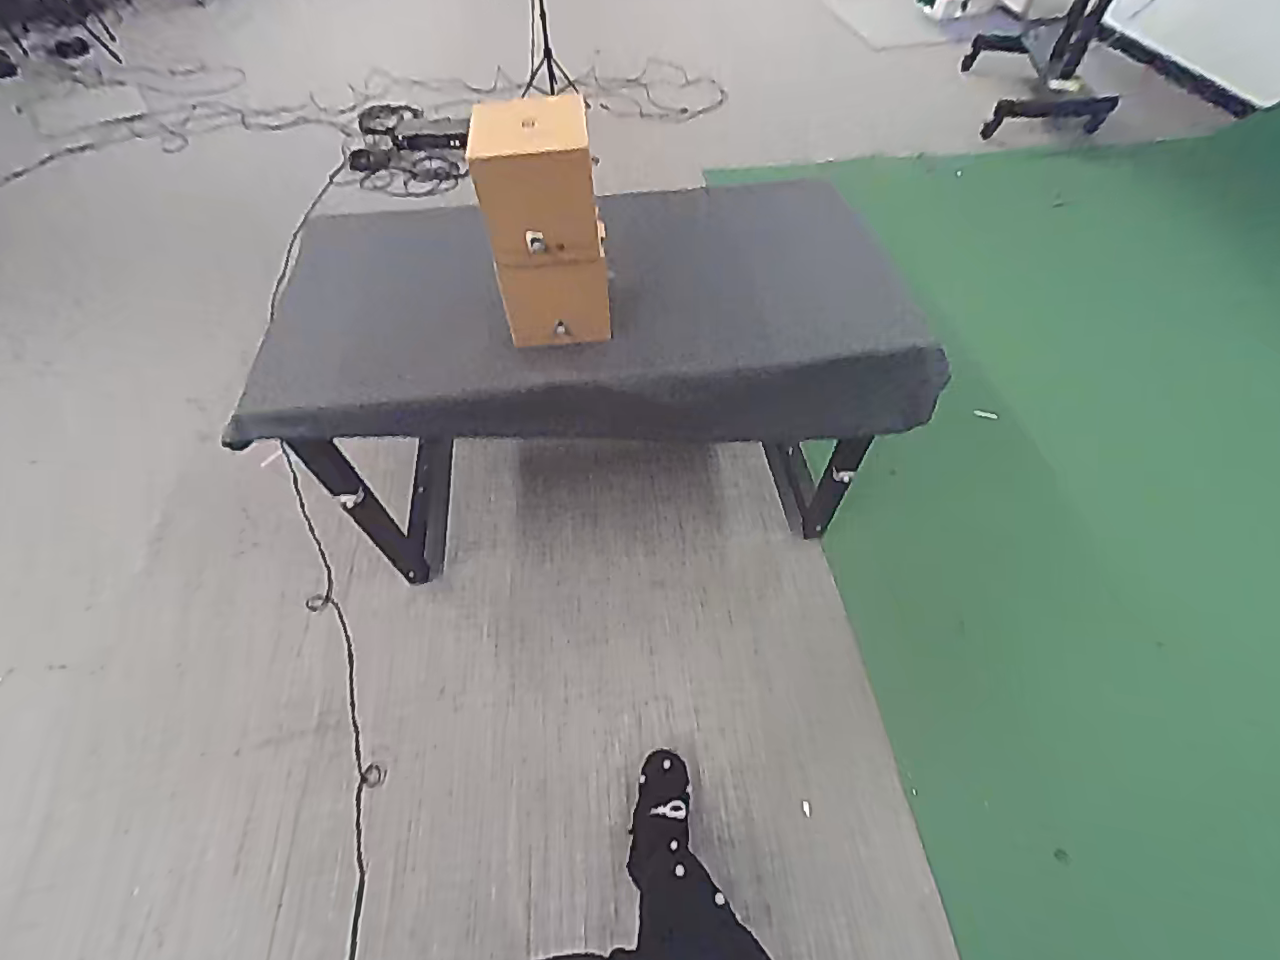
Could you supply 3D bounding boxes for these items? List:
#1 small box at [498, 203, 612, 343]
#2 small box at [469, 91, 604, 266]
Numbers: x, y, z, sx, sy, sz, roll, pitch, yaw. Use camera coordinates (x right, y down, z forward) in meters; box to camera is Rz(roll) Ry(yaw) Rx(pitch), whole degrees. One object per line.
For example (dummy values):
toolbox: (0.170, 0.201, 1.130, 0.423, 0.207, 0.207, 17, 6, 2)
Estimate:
small box: (-0.141, -0.363, 0.956, 0.179, 0.176, 0.168, -6, 55, -2)
small box: (-0.148, -0.455, 0.822, 0.168, 0.176, 0.179, -7, 56, -1)
